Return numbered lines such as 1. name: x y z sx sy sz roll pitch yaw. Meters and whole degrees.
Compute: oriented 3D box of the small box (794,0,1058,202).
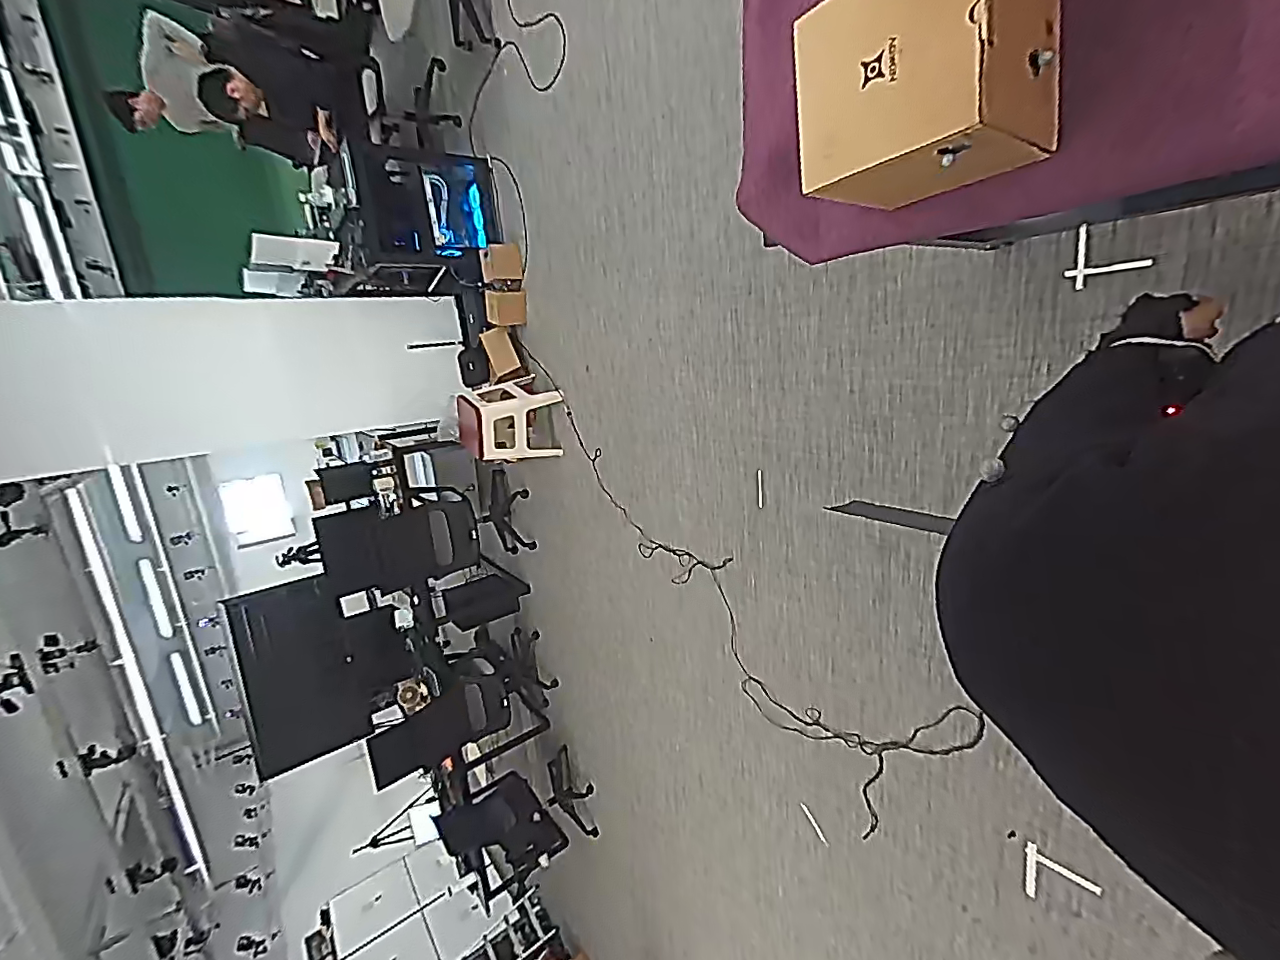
1. small box: 0.279 -0.394 0.537 0.179 0.176 0.168 6 107 53
